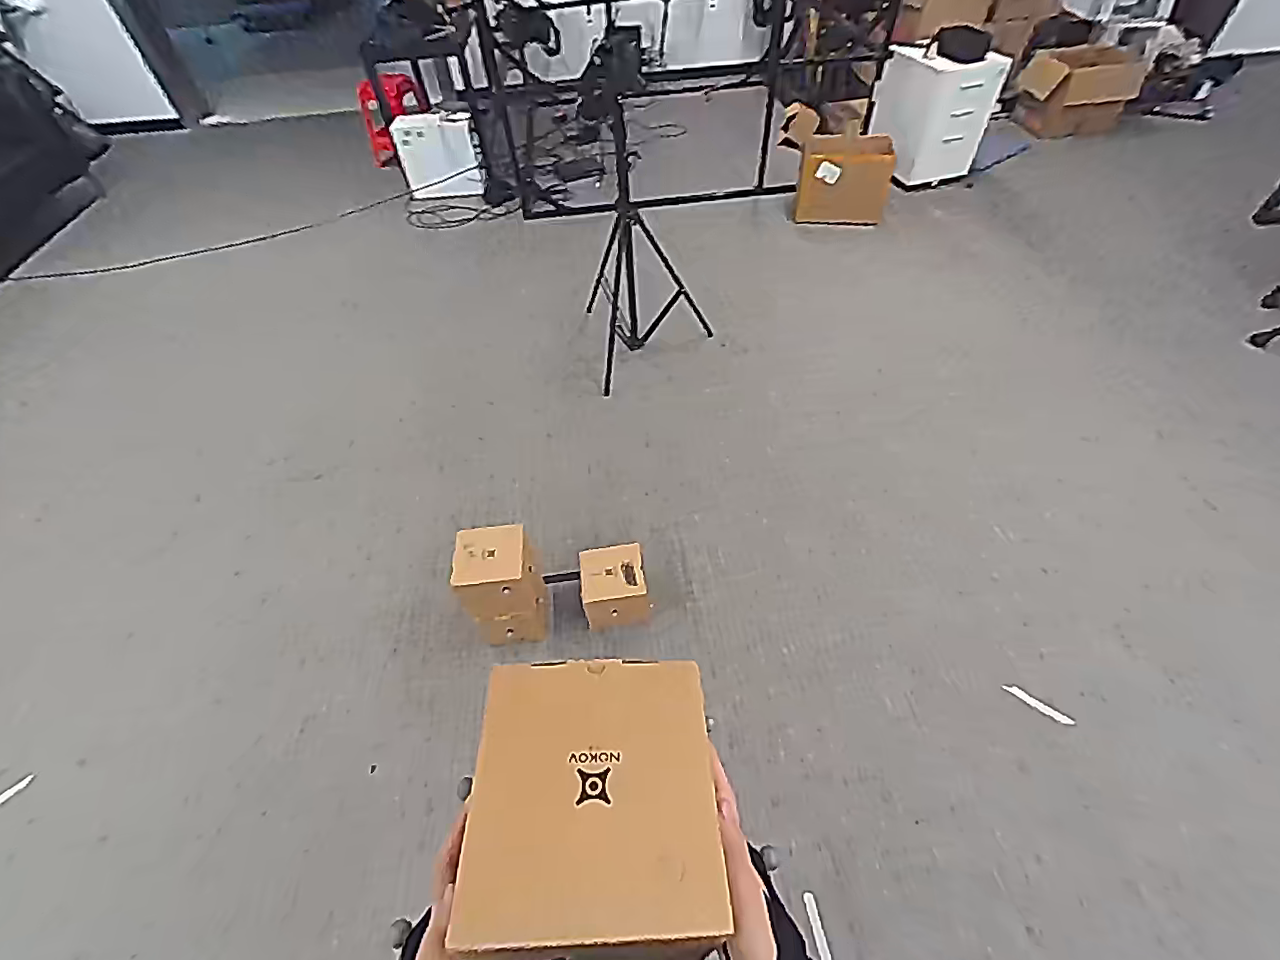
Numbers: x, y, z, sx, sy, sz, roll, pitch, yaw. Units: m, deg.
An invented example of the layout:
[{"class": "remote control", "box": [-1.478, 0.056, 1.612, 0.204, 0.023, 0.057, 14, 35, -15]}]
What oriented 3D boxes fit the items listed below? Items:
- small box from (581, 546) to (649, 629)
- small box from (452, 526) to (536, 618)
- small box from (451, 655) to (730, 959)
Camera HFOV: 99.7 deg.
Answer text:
[{"class": "small box", "box": [-0.069, 0.309, 1.546, 0.179, 0.176, 0.168, -8, 51, -1]}, {"class": "small box", "box": [-0.371, 0.243, 1.408, 0.179, 0.176, 0.168, -7, 49, -2]}, {"class": "small box", "box": [-0.033, 0.261, 0.425, 0.168, 0.176, 0.179, 0, 41, -4]}]
